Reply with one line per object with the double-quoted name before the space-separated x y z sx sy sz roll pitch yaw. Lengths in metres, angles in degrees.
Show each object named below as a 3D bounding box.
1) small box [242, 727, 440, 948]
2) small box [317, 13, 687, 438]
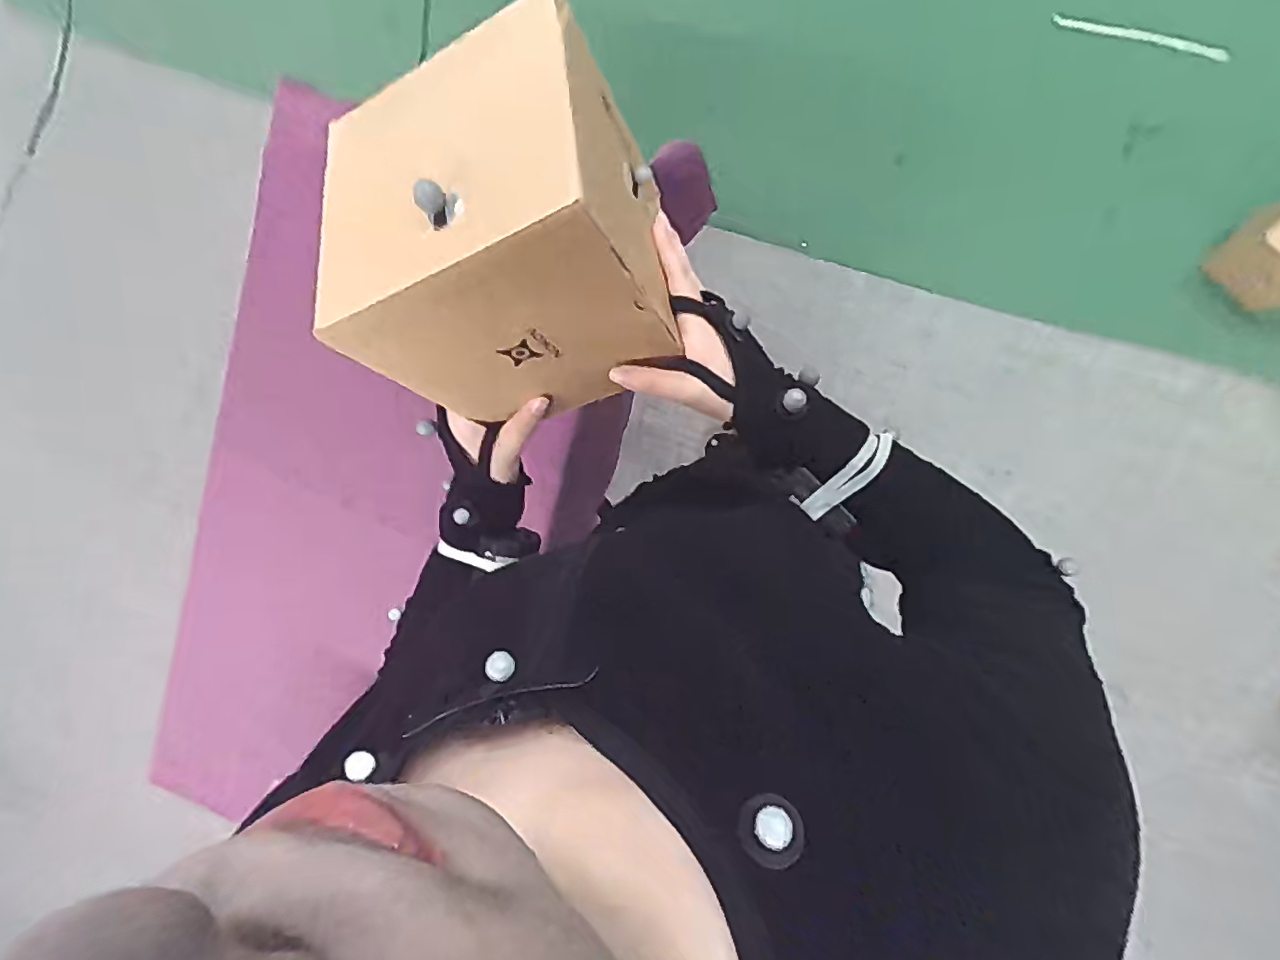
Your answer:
"small box" -0.430 0.513 0.802 0.168 0.176 0.179 24 97 9
"small box" -0.083 -0.154 0.376 0.179 0.168 0.176 -16 68 19
